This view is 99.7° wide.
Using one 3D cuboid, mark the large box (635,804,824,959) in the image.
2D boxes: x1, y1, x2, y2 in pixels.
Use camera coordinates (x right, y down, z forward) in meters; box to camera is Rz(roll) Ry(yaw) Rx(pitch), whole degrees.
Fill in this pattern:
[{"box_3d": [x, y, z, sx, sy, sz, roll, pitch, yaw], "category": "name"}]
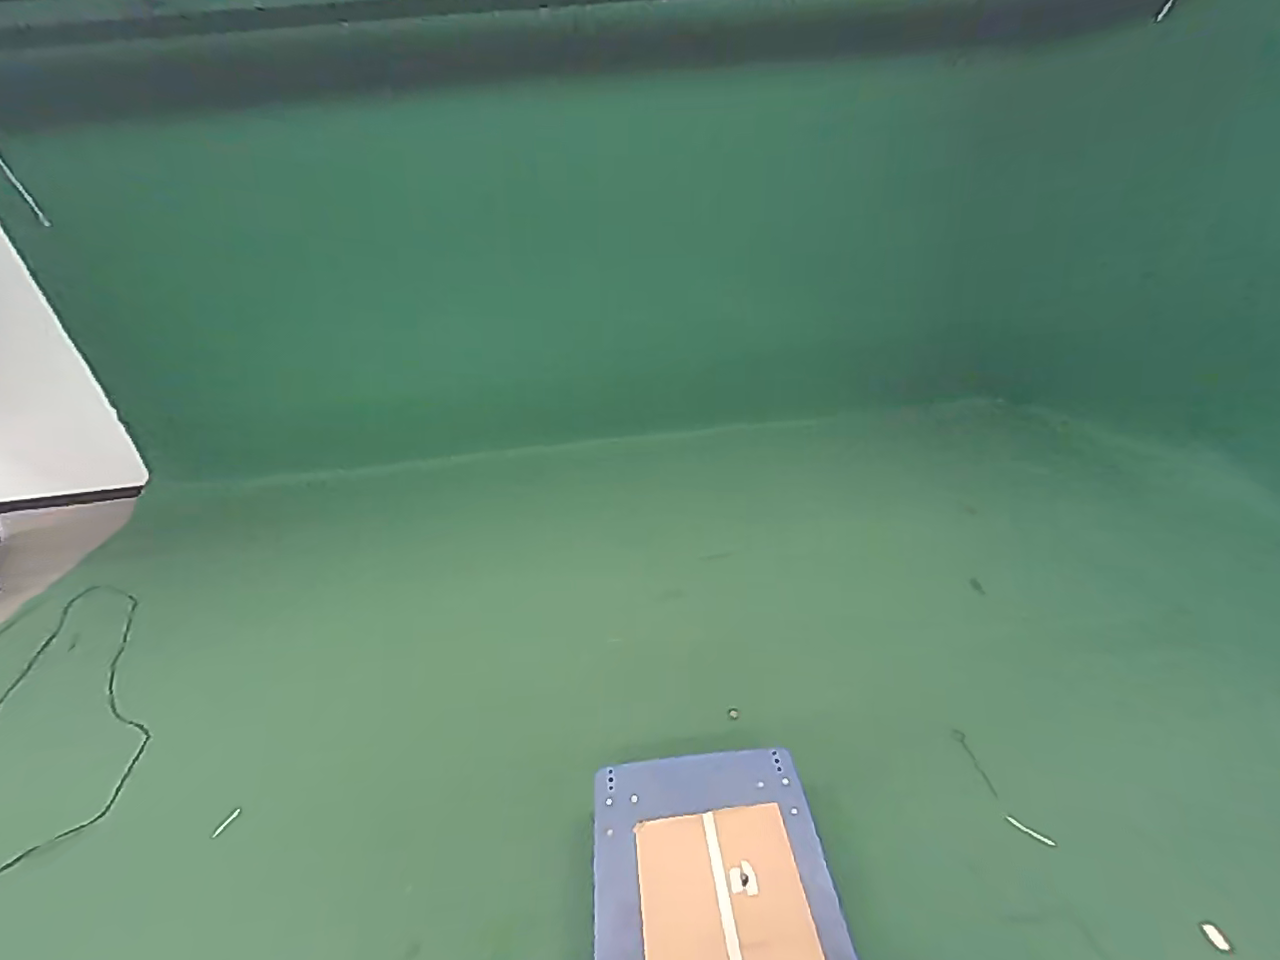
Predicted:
[{"box_3d": [0.177, 0.949, 1.072, 0.320, 0.320, 0.408, -7, 30, -2], "category": "large box"}]
